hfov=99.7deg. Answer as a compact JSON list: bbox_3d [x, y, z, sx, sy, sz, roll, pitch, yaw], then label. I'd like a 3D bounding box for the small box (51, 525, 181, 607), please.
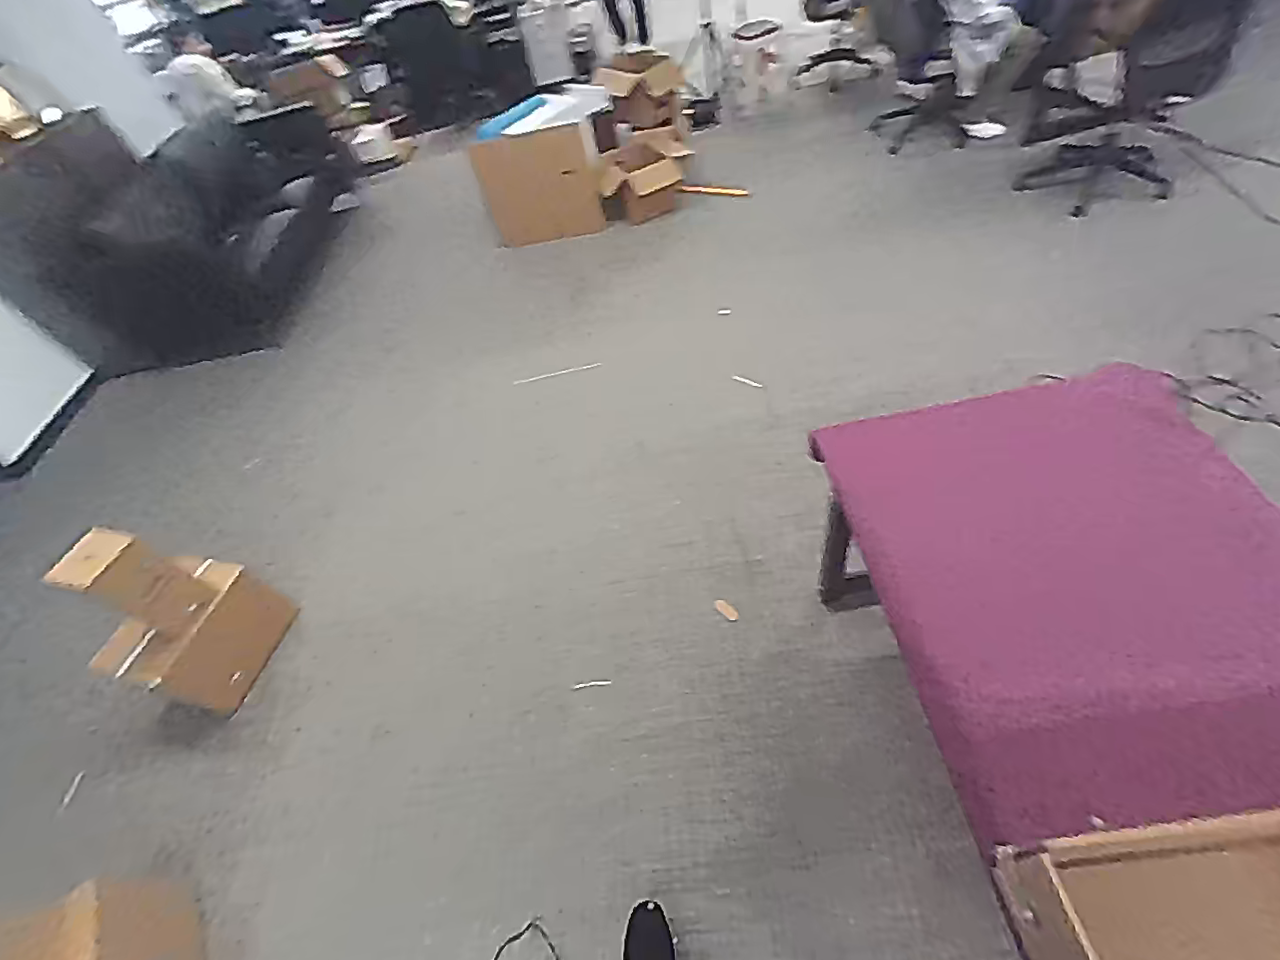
[{"bbox_3d":[-1.497,0.252,1.559,0.179,0.176,0.168,6,53,17],"label":"small box"}]

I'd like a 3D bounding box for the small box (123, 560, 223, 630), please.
[{"bbox_3d":[-1.474,0.349,1.688,0.179,0.176,0.168,8,54,17],"label":"small box"}]
